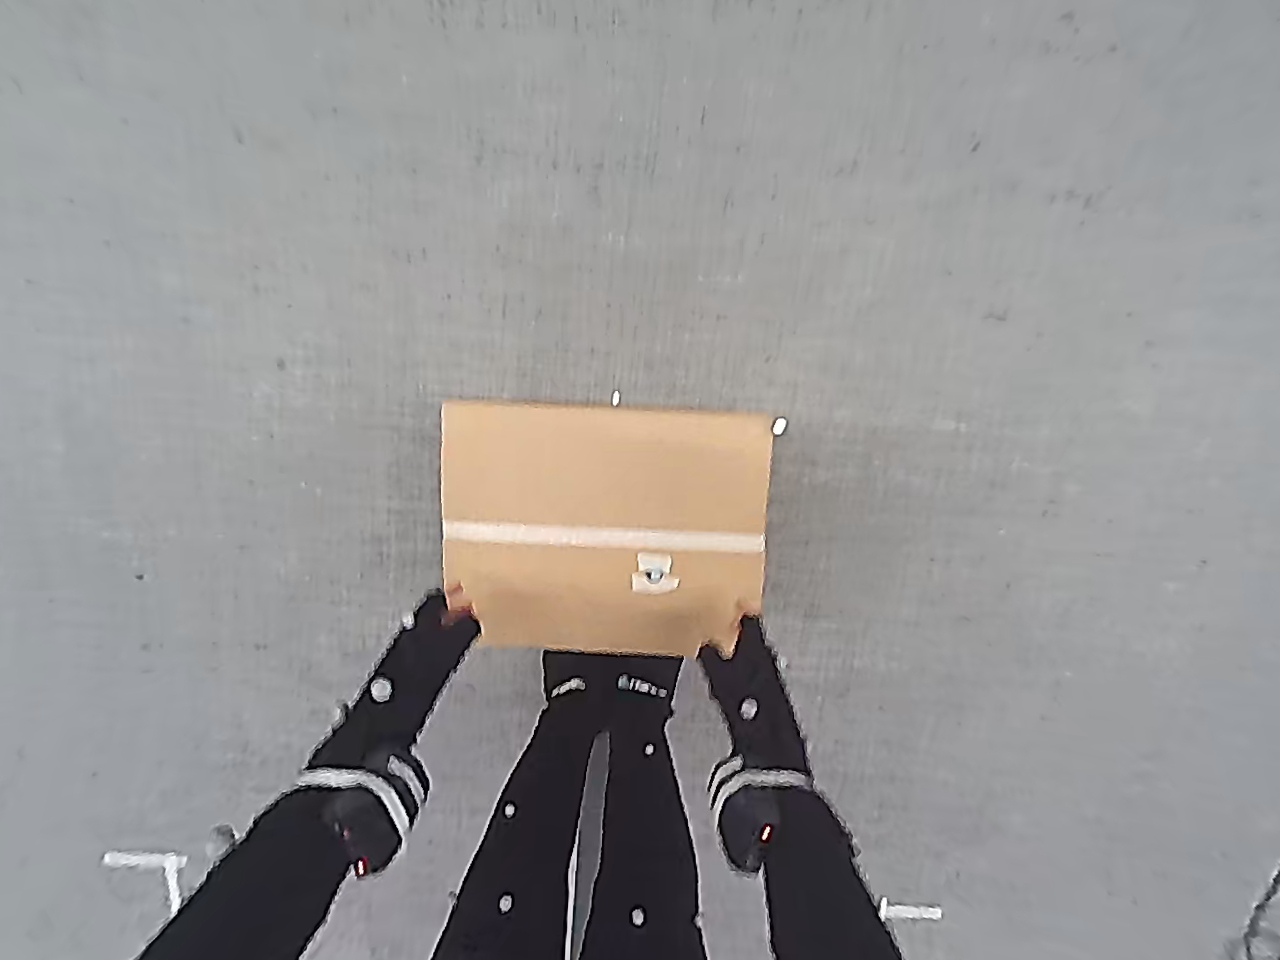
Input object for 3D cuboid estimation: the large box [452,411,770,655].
[{"bbox_3d":[-0.041,0.054,0.837,0.408,0.320,0.320,2,99,0],"label":"large box"}]
